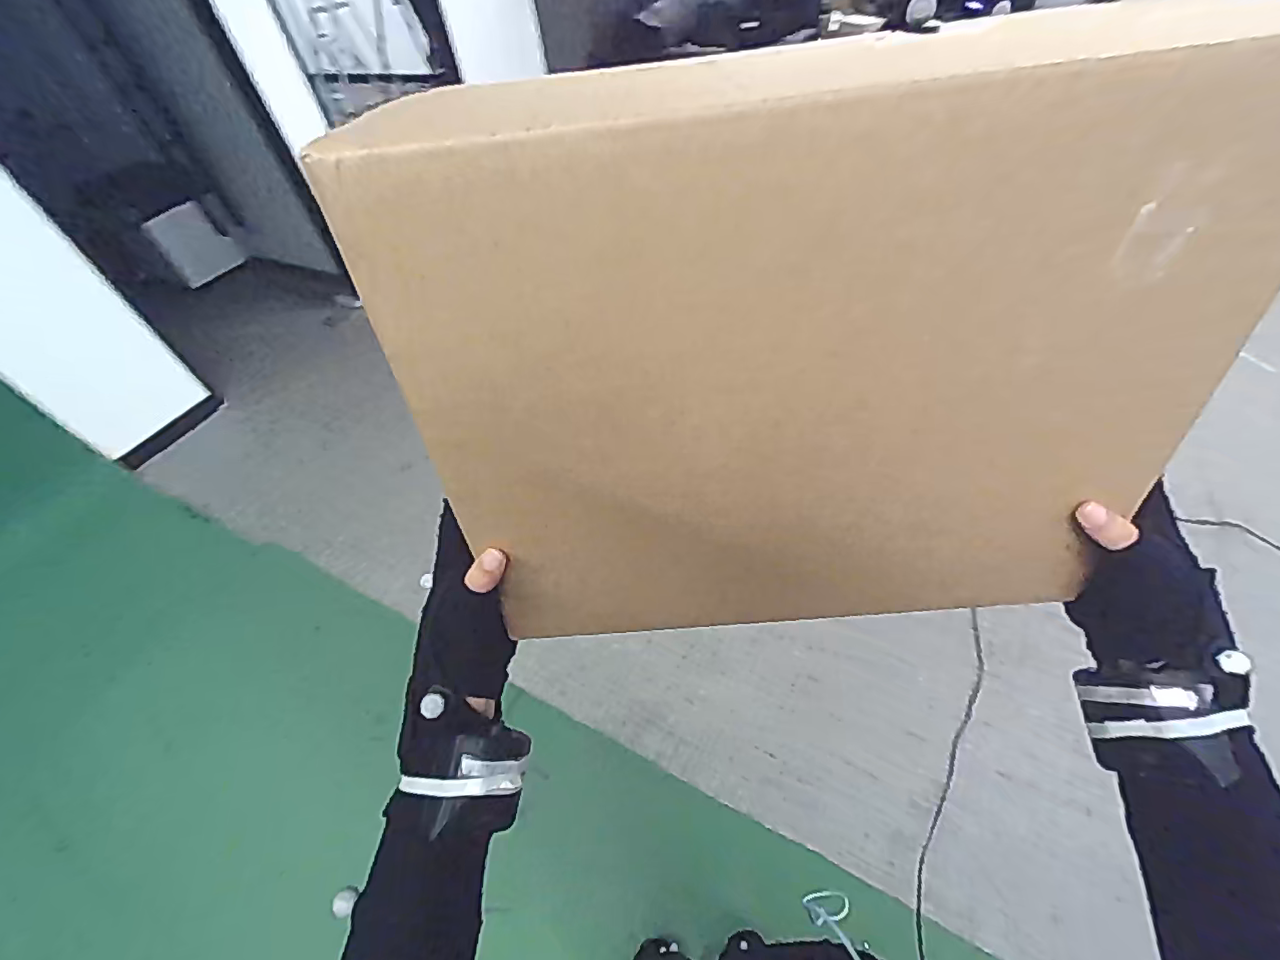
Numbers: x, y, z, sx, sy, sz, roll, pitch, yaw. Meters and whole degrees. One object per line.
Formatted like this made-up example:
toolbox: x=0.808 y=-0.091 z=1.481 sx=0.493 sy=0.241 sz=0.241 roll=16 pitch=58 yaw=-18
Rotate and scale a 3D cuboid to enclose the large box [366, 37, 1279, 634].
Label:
large box: x=0.096 y=-0.111 z=0.409 sx=0.408 sy=0.320 sz=0.320 roll=-4 pitch=40 yaw=2
